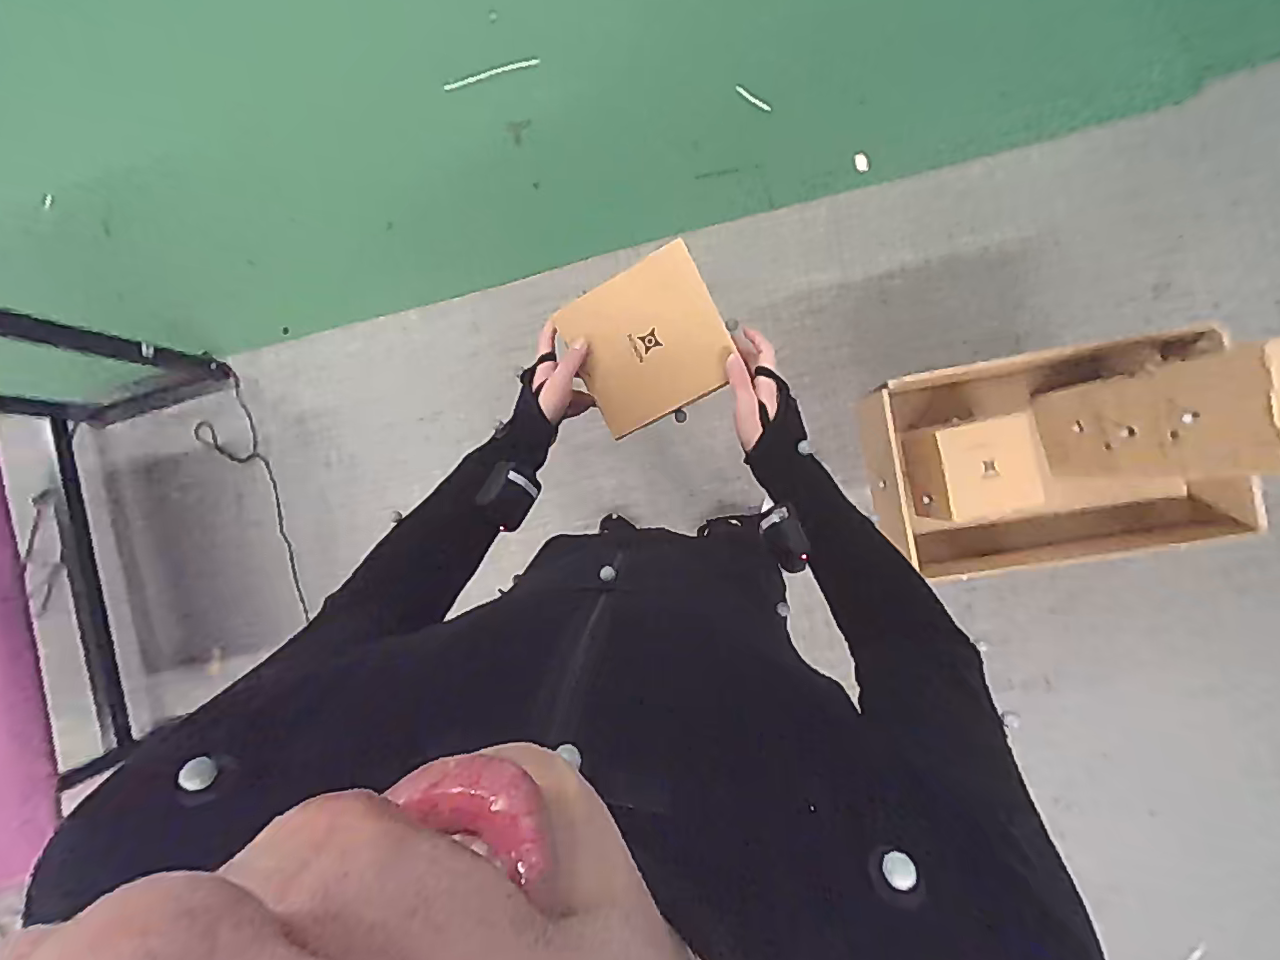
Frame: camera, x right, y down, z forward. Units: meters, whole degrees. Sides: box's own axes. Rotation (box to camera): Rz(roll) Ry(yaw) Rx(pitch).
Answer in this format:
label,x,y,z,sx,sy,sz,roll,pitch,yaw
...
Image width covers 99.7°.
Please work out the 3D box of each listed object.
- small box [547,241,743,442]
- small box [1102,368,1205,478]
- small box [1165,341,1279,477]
label,x,y,z,sx,sy,sz,roll,pitch,yaw
small box,0.017,-0.168,0.685,0.179,0.176,0.168,-27,95,17
small box,0.895,-0.102,0.869,0.179,0.176,0.168,-15,89,8
small box,0.858,-0.096,0.707,0.179,0.176,0.168,-8,89,8
